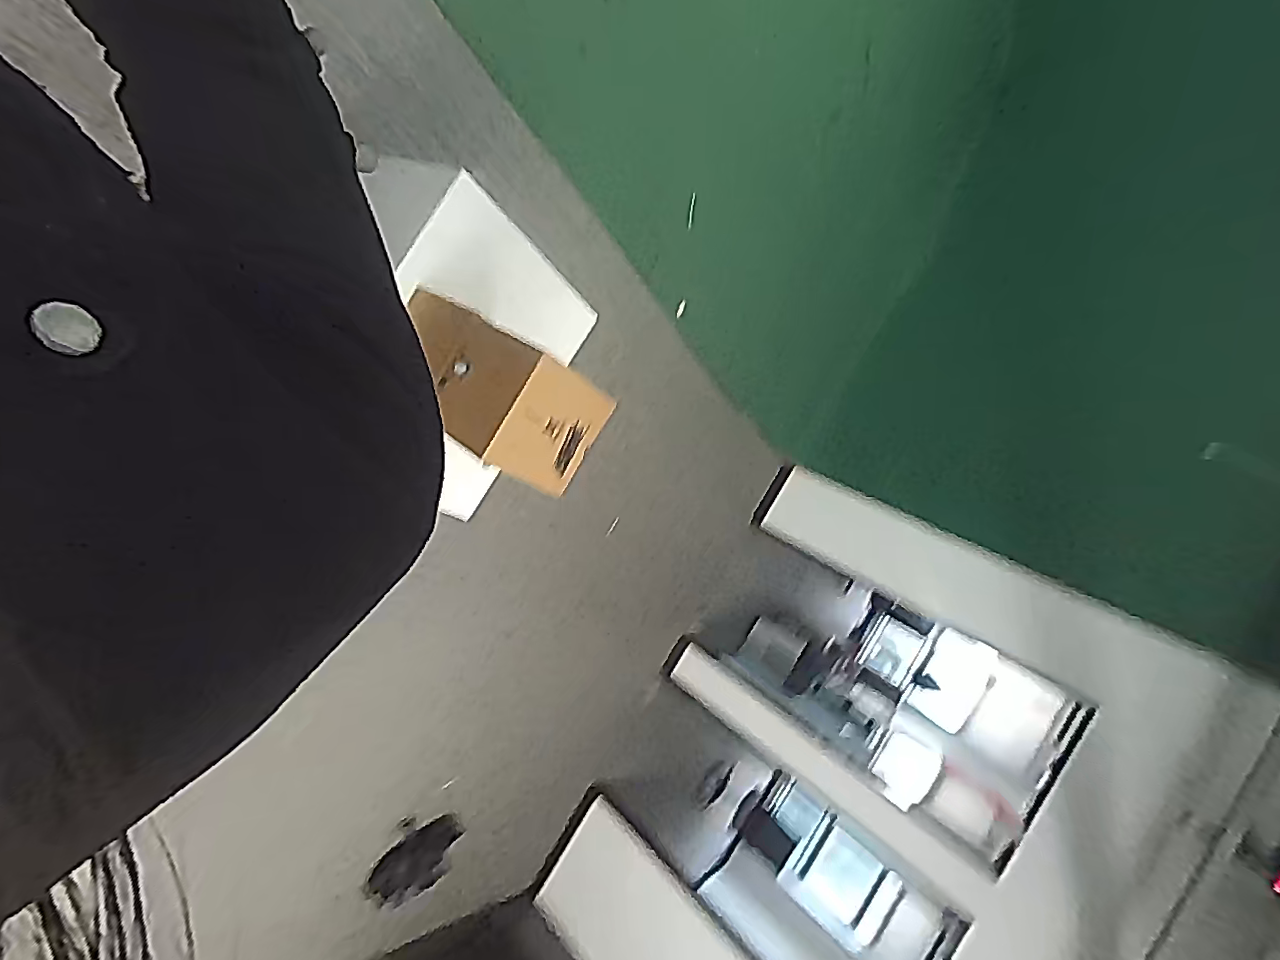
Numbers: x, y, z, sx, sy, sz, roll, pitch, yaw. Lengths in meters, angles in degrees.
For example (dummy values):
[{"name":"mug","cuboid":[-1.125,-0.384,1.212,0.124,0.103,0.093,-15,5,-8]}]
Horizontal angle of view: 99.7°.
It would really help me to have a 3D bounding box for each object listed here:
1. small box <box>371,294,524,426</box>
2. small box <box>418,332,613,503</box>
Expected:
[{"name":"small box","cuboid":[-0.296,-0.166,0.865,0.179,0.176,0.168,-60,147,0]},{"name":"small box","cuboid":[-0.177,-0.089,0.781,0.168,0.176,0.179,-60,148,2]}]
